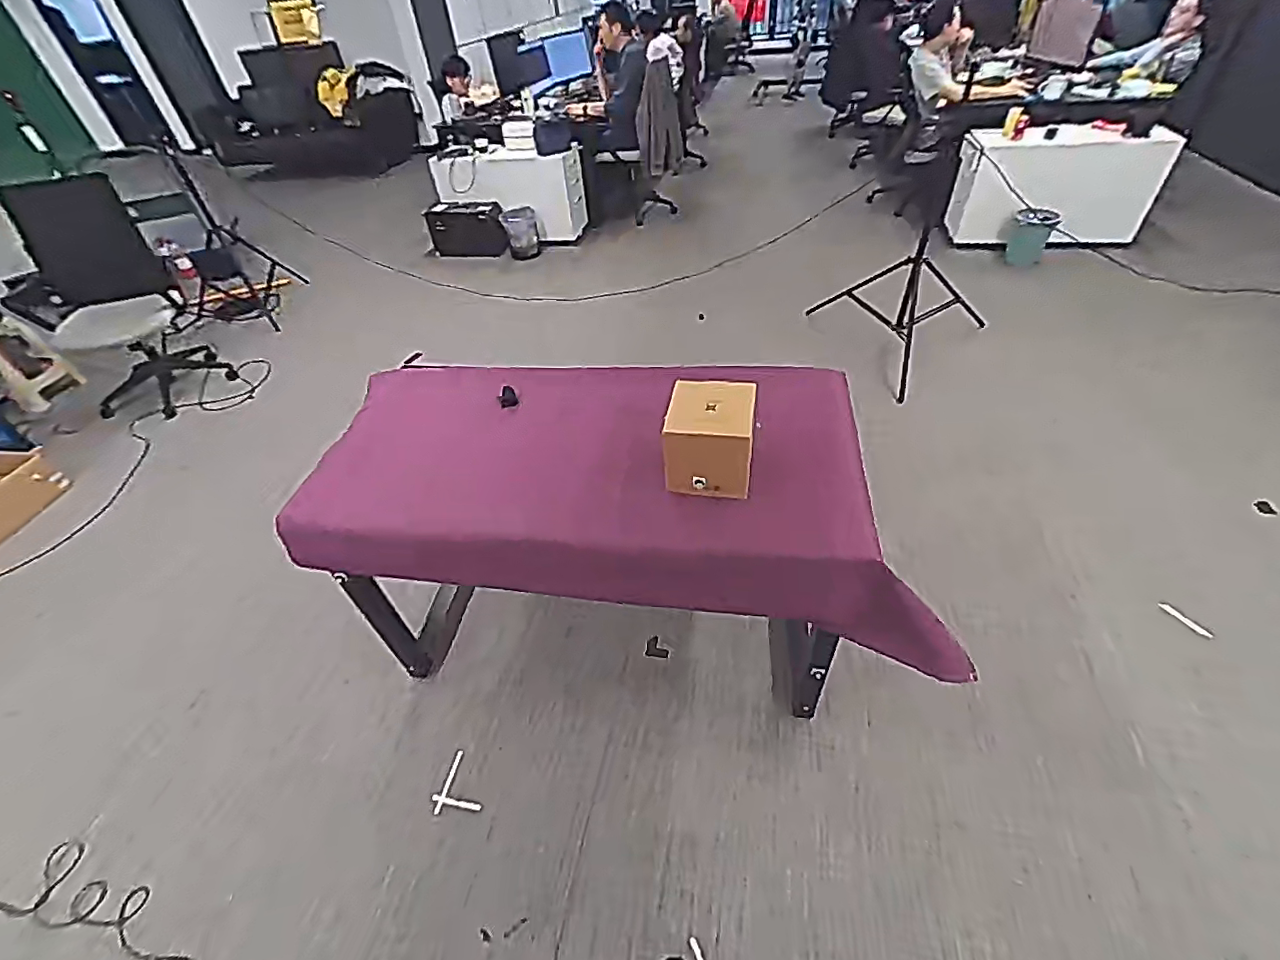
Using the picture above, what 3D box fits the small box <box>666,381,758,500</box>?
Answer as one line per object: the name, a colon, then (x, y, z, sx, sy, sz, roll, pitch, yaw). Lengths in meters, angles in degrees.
small box: (0.149, -0.083, 1.108, 0.168, 0.176, 0.179, 4, 45, 12)
